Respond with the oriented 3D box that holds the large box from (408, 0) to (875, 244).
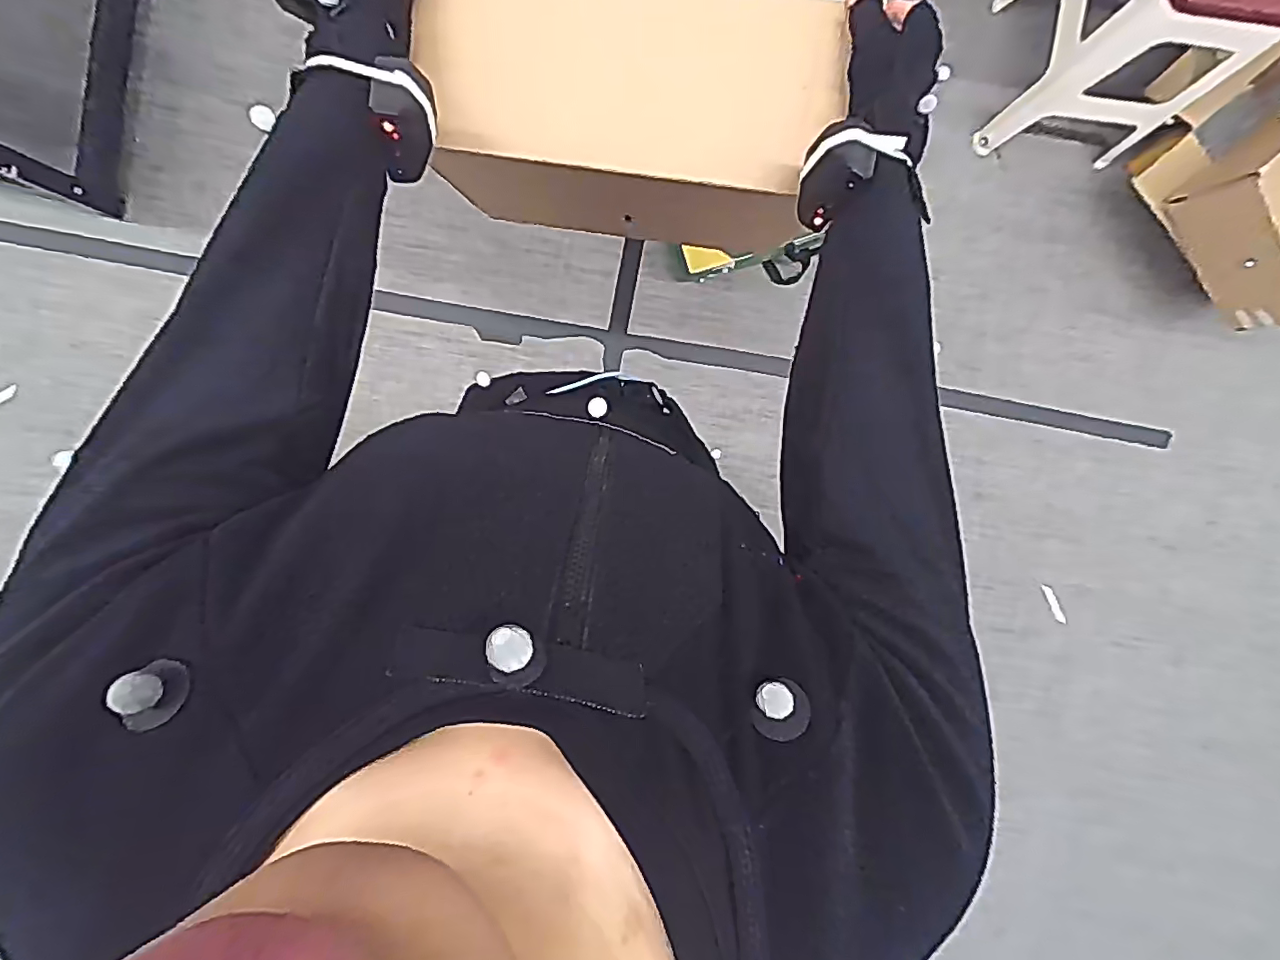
[{"bbox_3d":[0.006,-0.466,0.599,0.408,0.320,0.320,7,104,-2],"label":"large box"}]
